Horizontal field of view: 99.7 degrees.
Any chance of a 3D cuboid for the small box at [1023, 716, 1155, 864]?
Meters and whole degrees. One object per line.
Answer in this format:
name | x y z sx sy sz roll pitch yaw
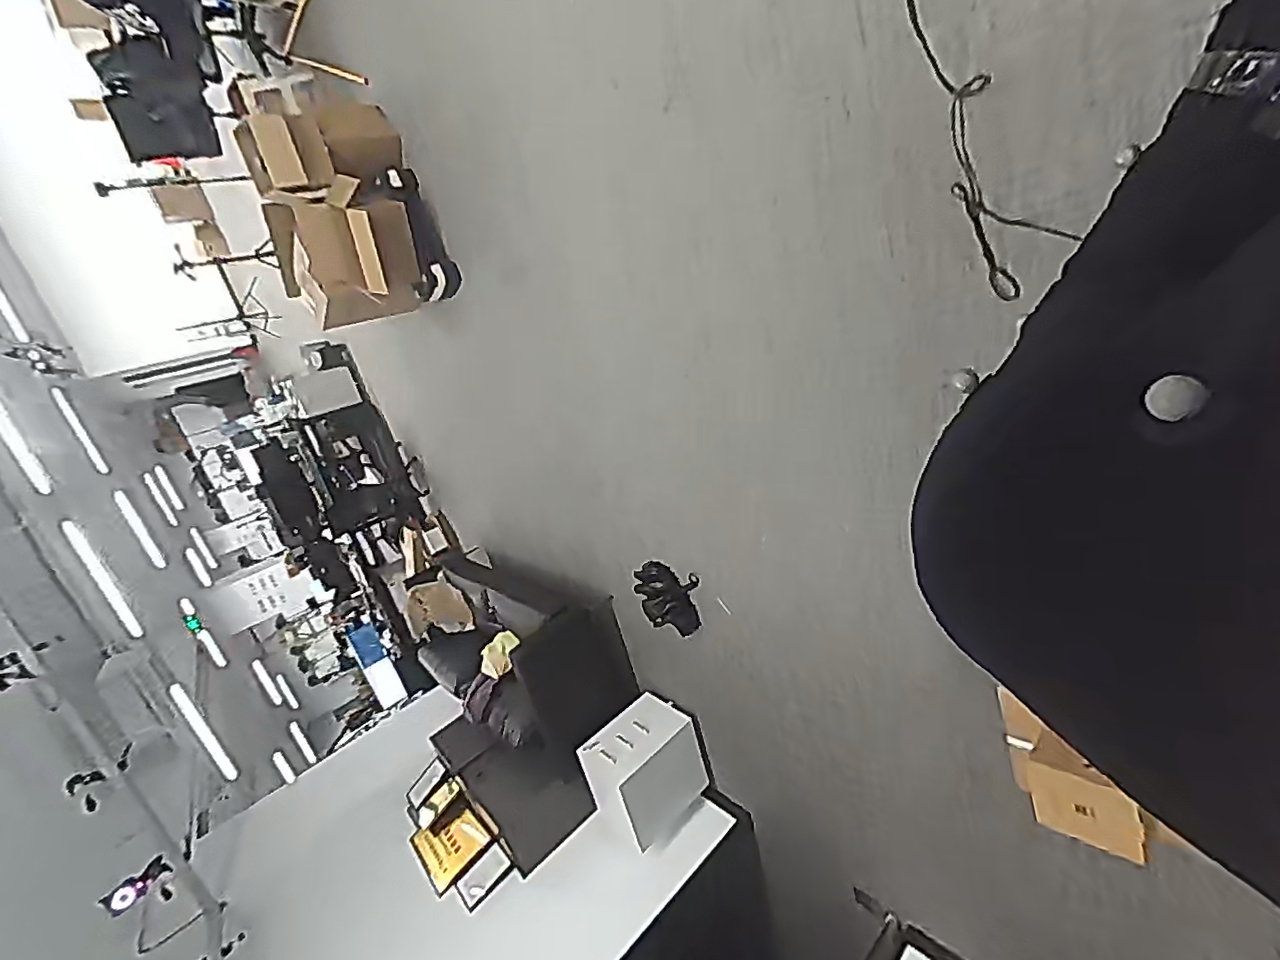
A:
small box | 0.927 0.621 1.112 0.179 0.176 0.168 0 111 54
